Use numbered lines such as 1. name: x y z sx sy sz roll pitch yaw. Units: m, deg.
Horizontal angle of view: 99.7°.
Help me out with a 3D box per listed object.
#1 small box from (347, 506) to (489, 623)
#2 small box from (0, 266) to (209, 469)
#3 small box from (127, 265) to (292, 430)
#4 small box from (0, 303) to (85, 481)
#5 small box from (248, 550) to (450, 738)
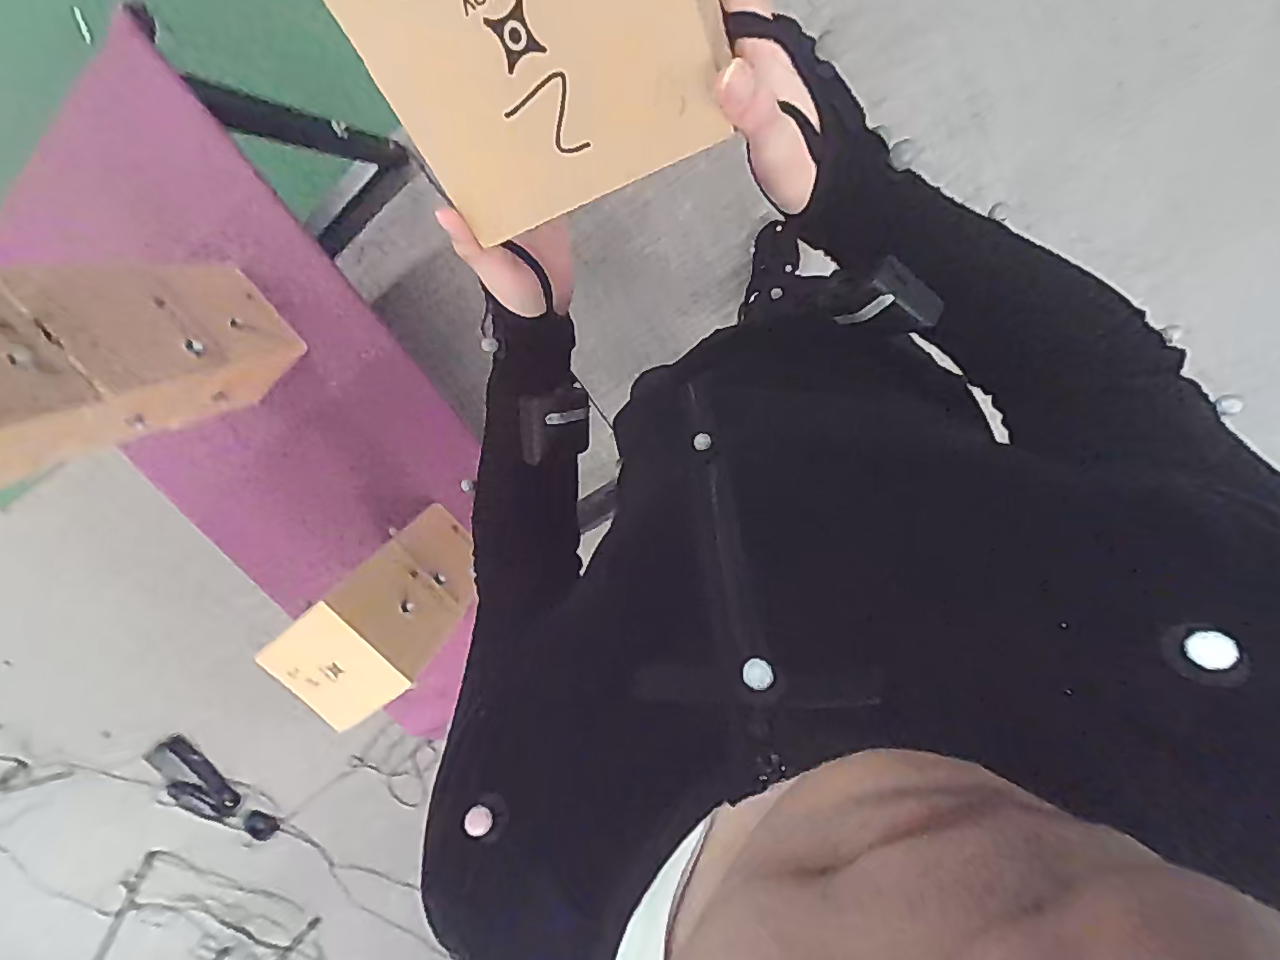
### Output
1. small box: -0.401 0.179 0.958 0.179 0.176 0.168 -36 104 21
2. small box: -0.703 -0.149 0.681 0.179 0.176 0.168 -30 106 21
3. small box: -0.685 -0.210 0.833 0.179 0.176 0.168 -32 106 21
4. small box: -0.731 -0.077 0.537 0.179 0.176 0.168 -29 107 20
5. small box: -0.411 0.234 0.802 0.179 0.176 0.168 -35 103 20
